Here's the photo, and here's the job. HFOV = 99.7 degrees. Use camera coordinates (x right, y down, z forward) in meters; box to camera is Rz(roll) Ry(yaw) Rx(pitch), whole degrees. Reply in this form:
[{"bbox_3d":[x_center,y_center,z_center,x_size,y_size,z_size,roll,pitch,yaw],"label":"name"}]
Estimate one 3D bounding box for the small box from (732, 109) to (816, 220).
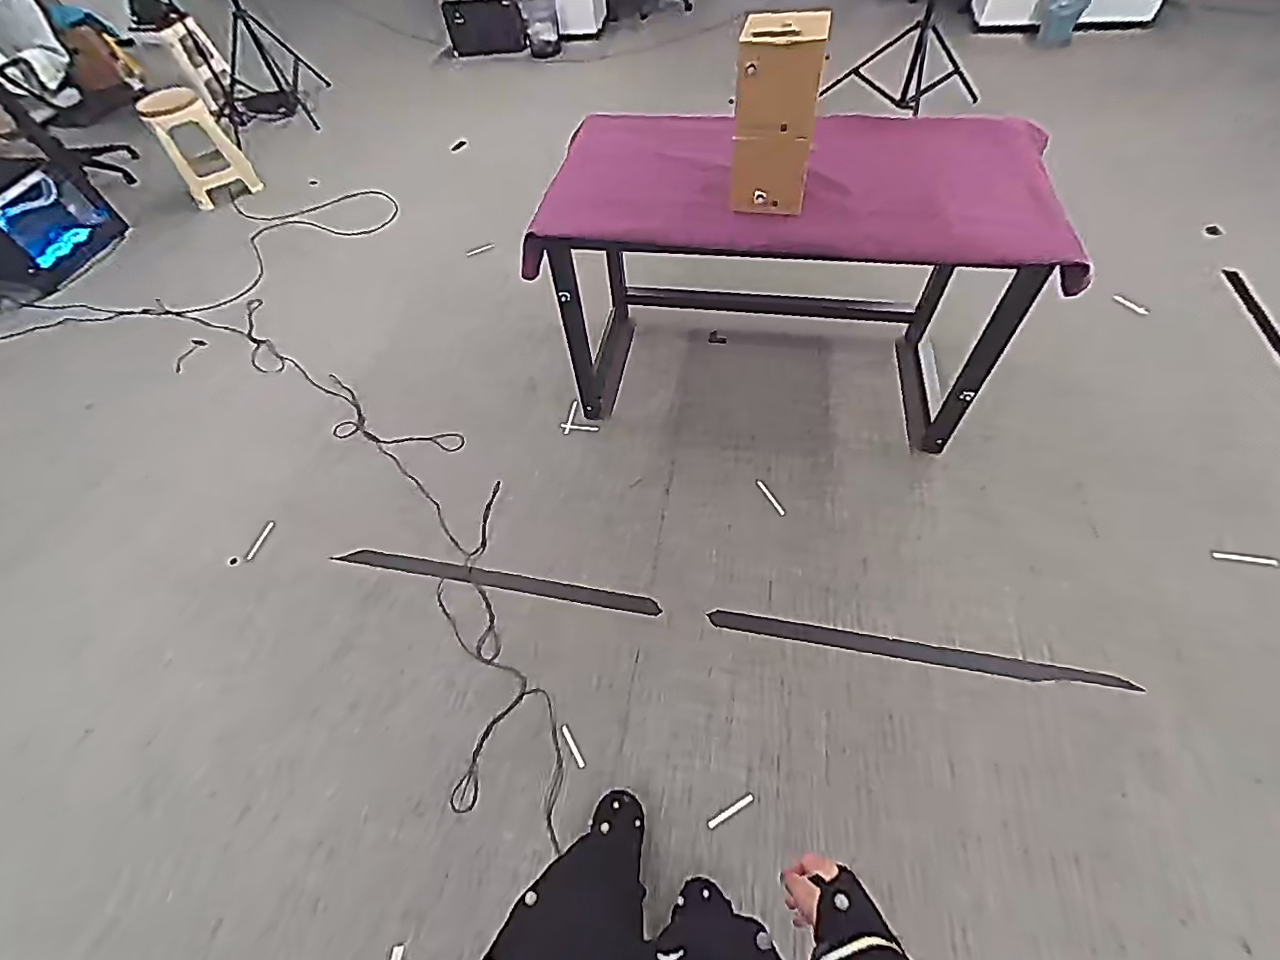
[{"bbox_3d":[0.310,-0.739,1.267,0.168,0.176,0.179,8,56,12],"label":"small box"}]
